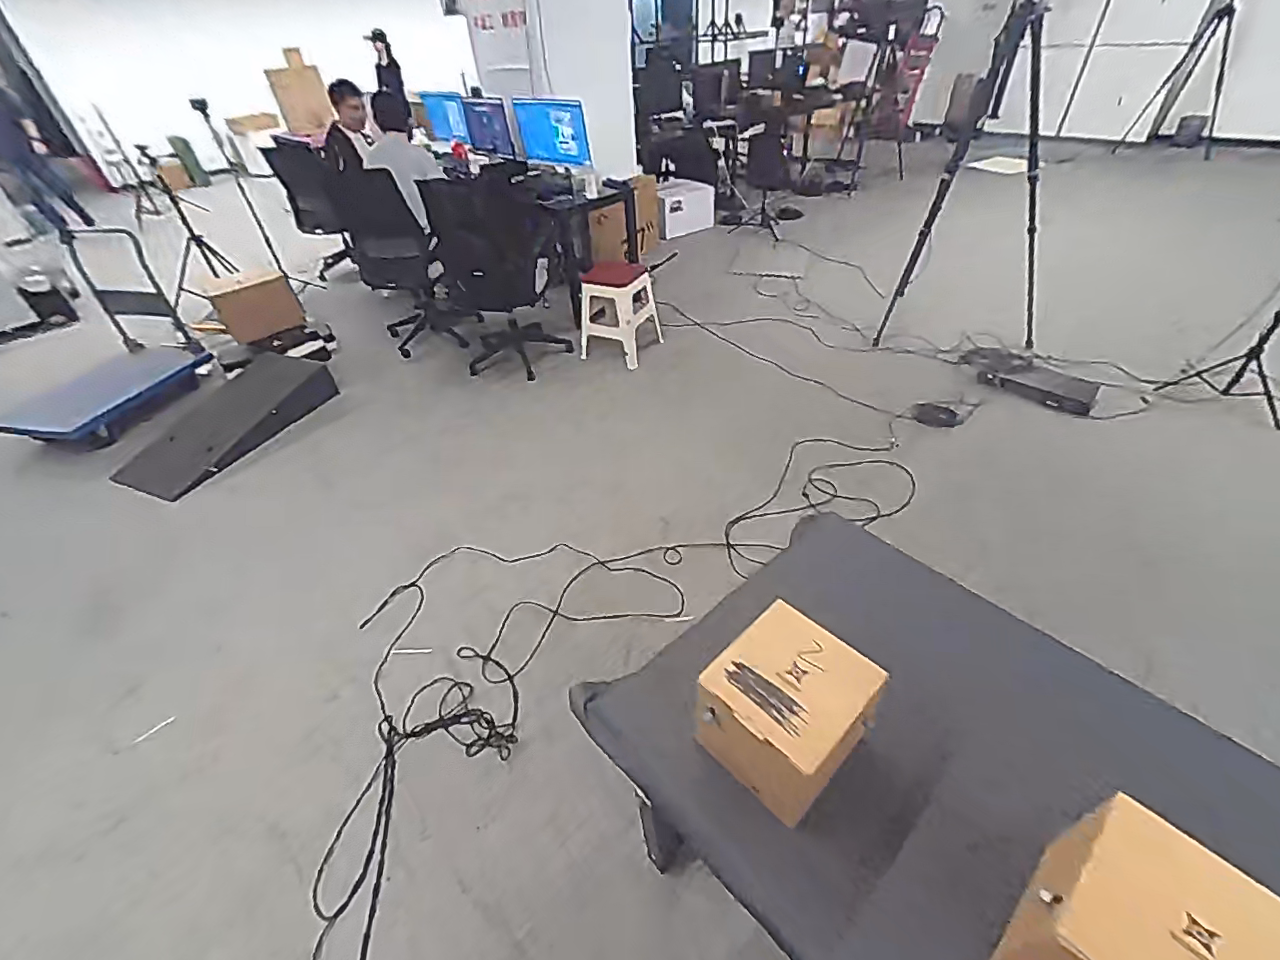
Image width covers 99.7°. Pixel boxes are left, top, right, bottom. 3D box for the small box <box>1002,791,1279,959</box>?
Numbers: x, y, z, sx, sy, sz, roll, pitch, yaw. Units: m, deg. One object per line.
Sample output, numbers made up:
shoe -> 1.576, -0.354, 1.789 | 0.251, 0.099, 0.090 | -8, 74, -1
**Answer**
small box -> 0.489, 0.454, 0.519 | 0.179, 0.176, 0.168 | -32, 47, -28
